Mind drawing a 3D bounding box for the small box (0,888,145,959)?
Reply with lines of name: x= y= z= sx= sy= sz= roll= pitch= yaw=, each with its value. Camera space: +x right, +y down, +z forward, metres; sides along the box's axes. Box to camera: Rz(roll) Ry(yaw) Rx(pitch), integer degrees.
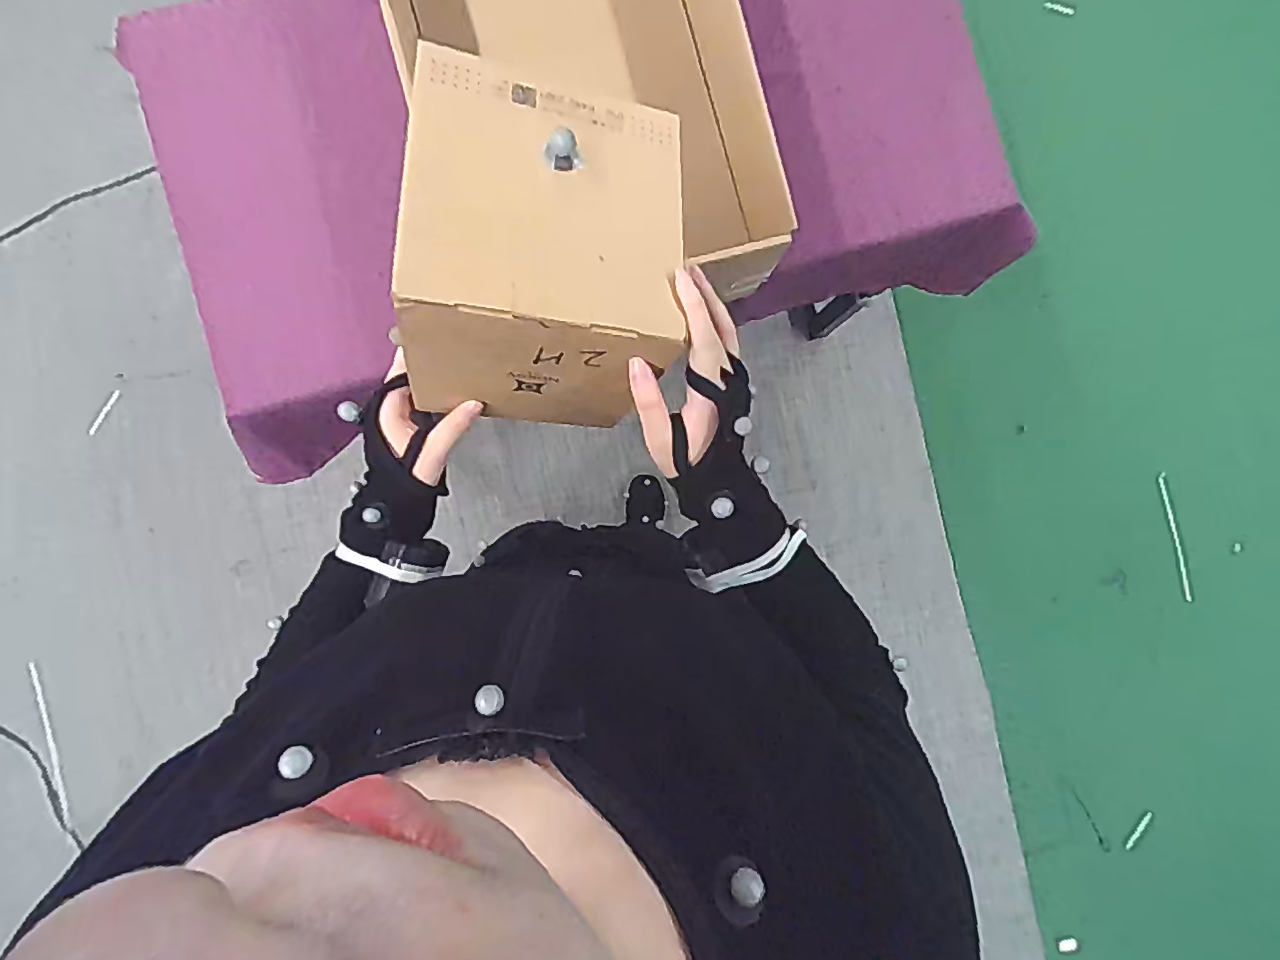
small box: x=-1.309 y=1.087 z=1.237 sx=0.168 sy=0.176 sz=0.179 roll=-25 pitch=90 yaw=-1
